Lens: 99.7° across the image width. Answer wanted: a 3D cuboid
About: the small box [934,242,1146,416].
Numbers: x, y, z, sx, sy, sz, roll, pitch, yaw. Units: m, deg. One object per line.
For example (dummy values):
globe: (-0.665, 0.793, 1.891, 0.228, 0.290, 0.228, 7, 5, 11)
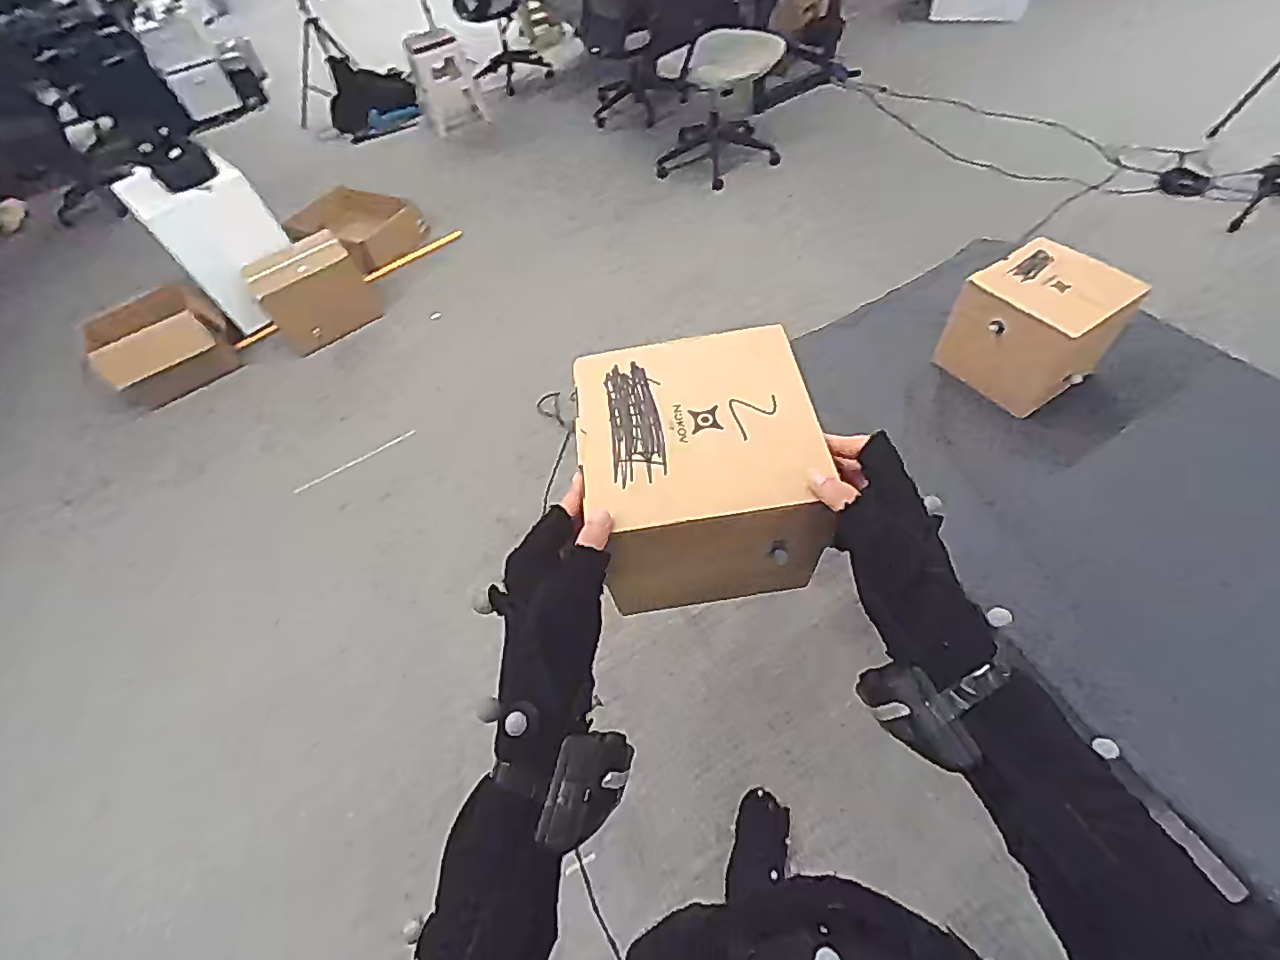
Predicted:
small box: (0.604, -0.233, 0.847, 0.168, 0.176, 0.179, -31, 56, -12)
